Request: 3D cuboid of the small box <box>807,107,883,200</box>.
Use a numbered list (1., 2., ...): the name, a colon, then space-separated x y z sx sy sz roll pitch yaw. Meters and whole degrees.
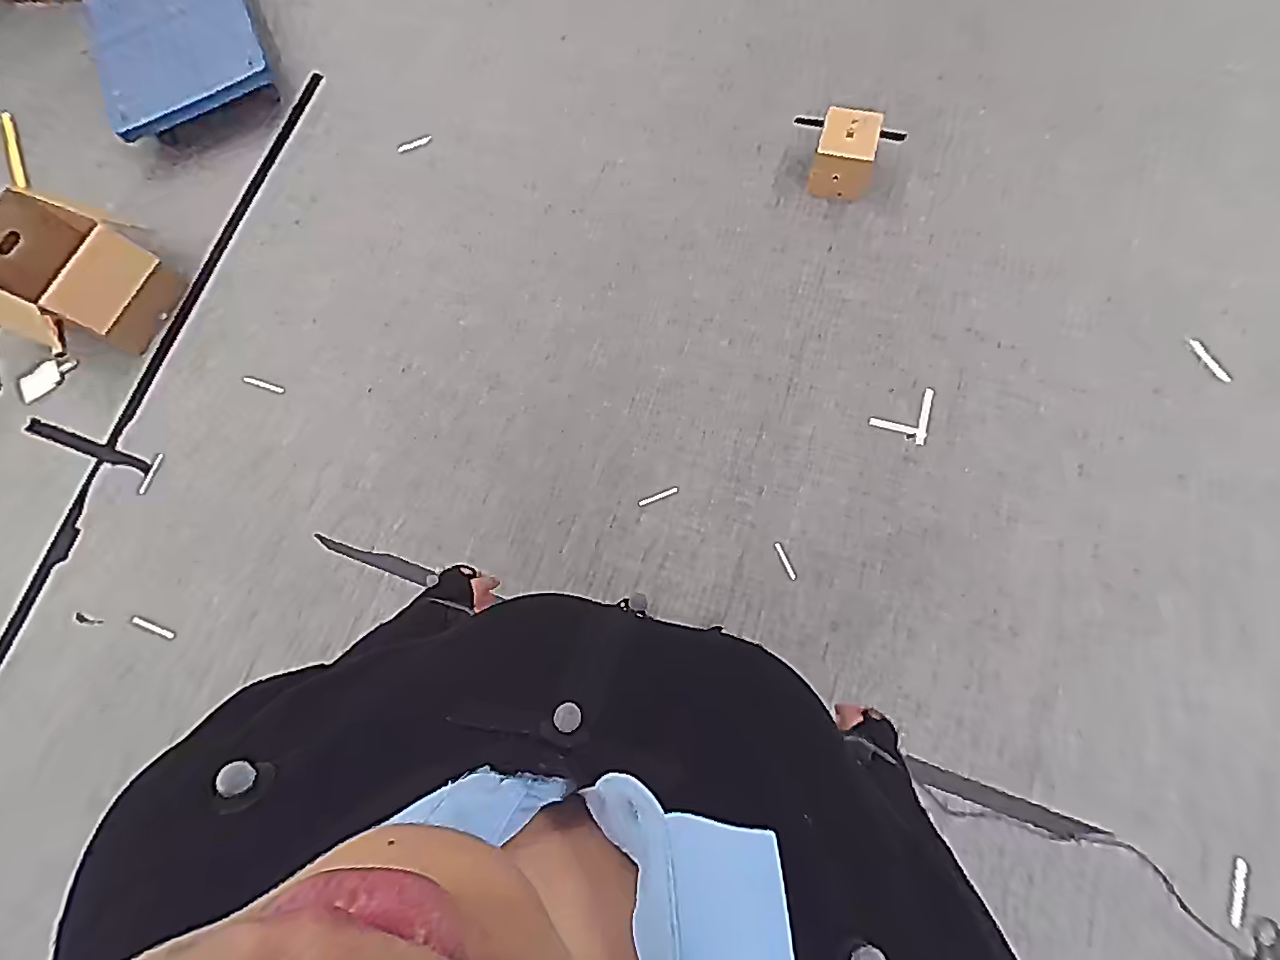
1. small box: 0.632 -1.011 1.684 0.168 0.176 0.179 15 78 9
